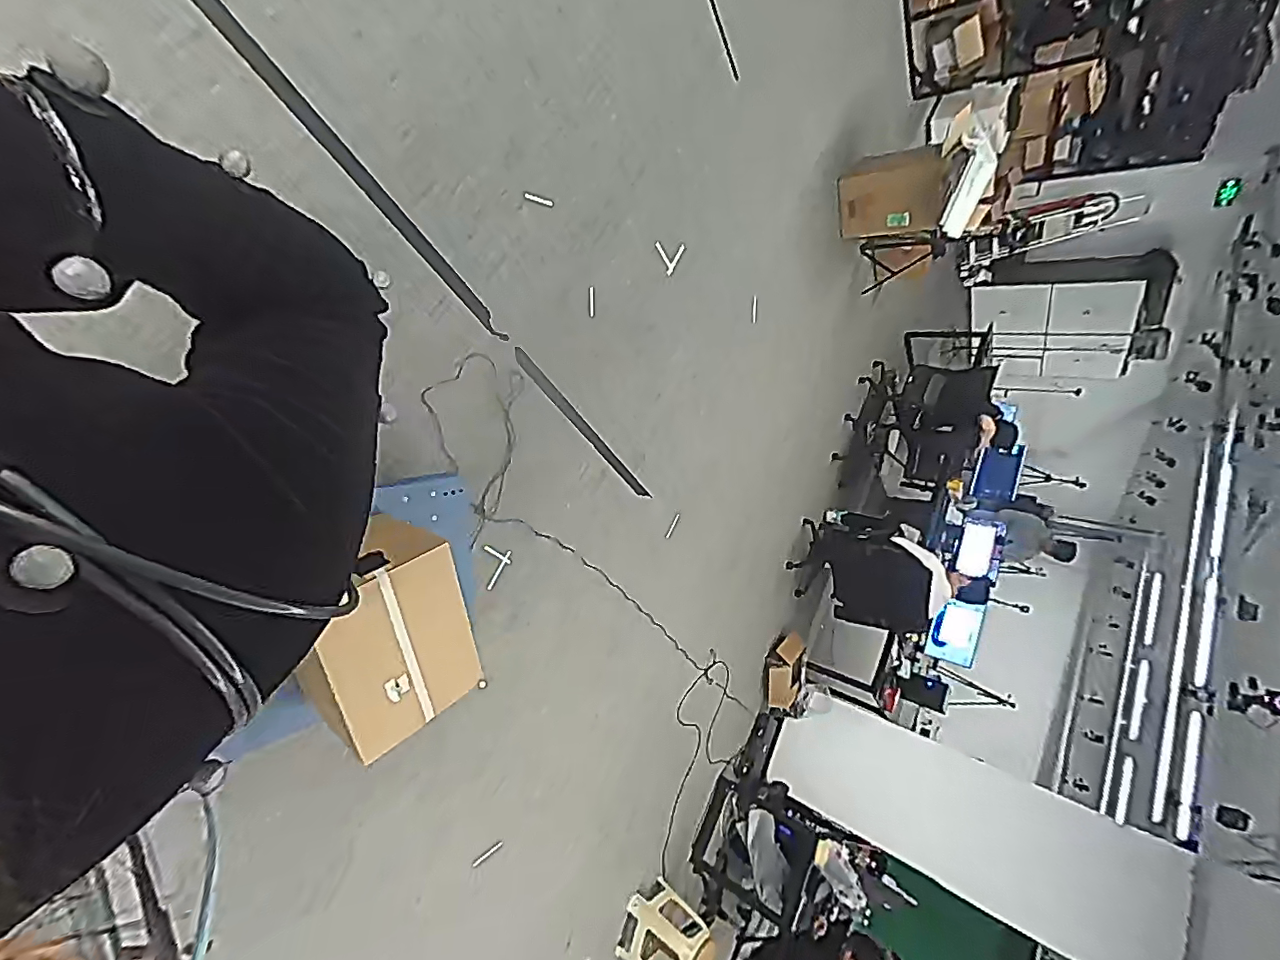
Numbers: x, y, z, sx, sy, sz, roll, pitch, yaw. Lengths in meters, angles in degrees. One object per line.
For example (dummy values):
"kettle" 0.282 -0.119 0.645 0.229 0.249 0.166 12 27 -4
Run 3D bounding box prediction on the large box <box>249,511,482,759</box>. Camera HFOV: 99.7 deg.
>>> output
"large box" -0.627 0.336 1.266 0.320 0.320 0.408 -29 123 -43
